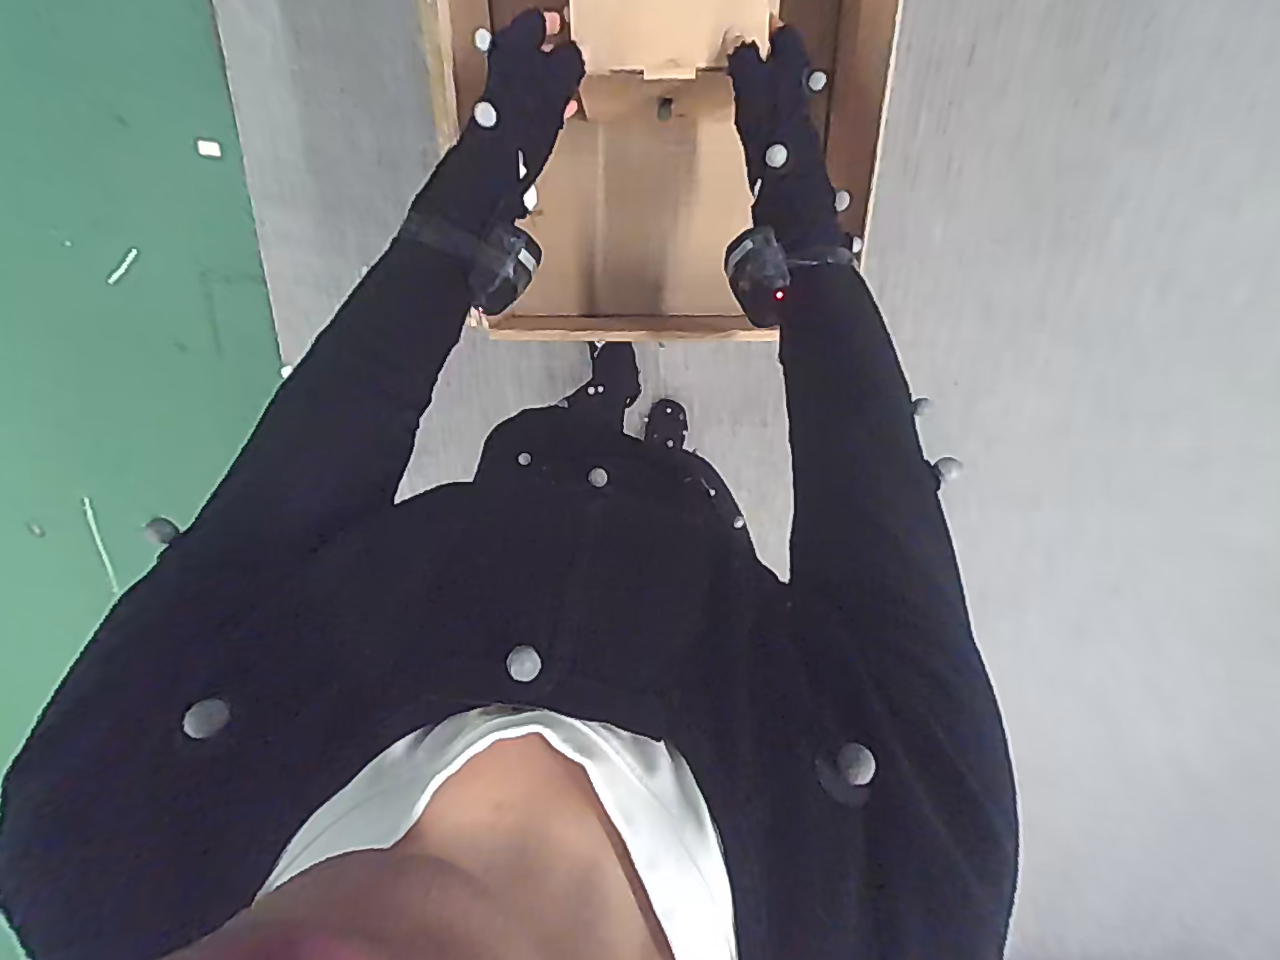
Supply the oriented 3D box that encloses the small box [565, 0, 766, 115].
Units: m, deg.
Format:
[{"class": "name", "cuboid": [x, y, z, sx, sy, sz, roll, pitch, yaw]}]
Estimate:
[{"class": "small box", "cuboid": [0.023, -0.454, 0.497, 0.168, 0.176, 0.179, 0, 112, 1]}]
